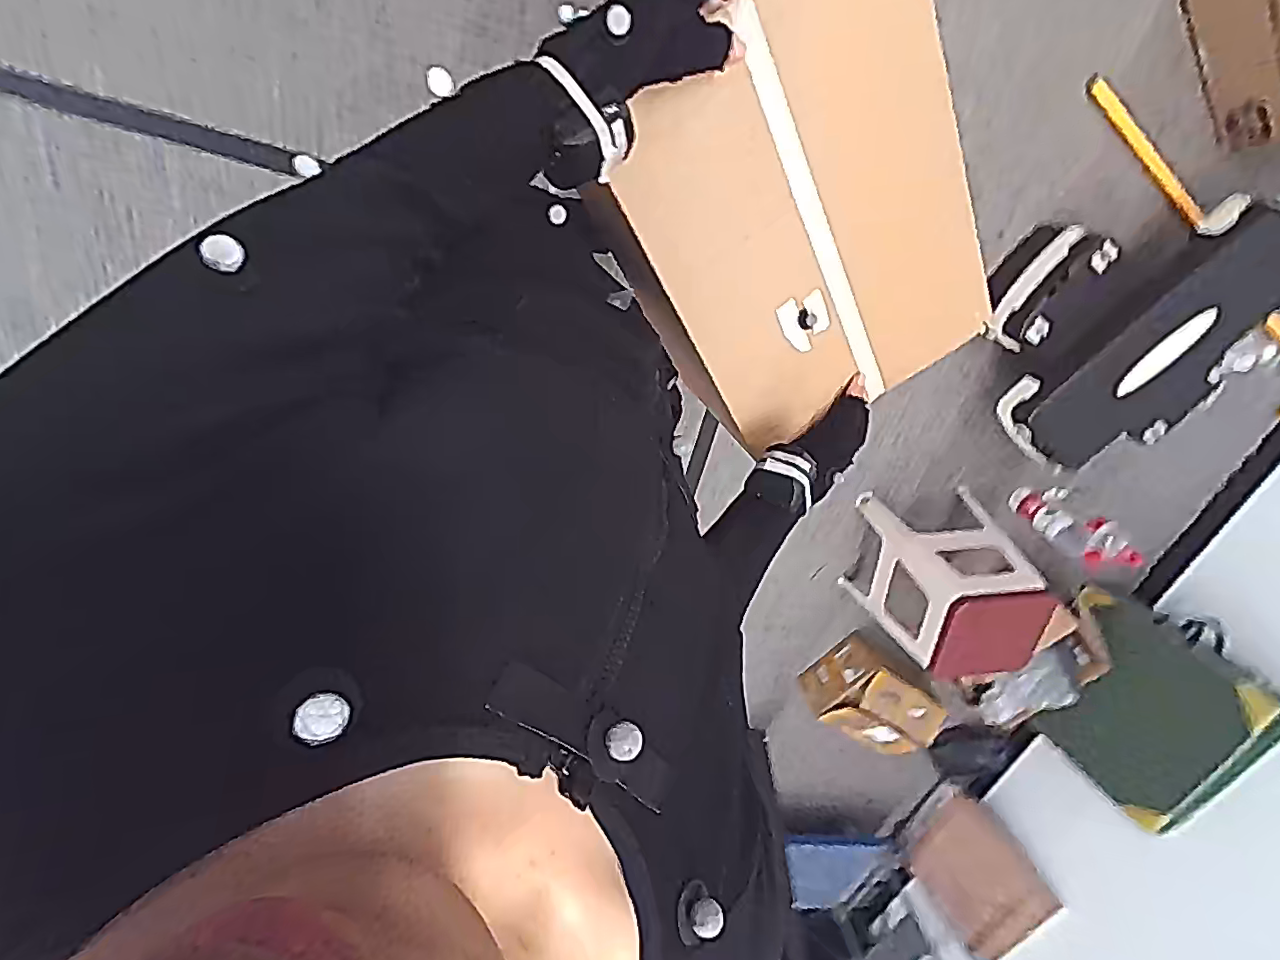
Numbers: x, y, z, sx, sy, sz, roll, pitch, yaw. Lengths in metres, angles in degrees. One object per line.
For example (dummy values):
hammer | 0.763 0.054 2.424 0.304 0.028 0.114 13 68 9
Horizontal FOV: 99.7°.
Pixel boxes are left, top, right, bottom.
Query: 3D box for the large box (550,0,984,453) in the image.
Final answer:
large box | 0.138 -0.319 0.663 0.320 0.320 0.408 -32 121 5
